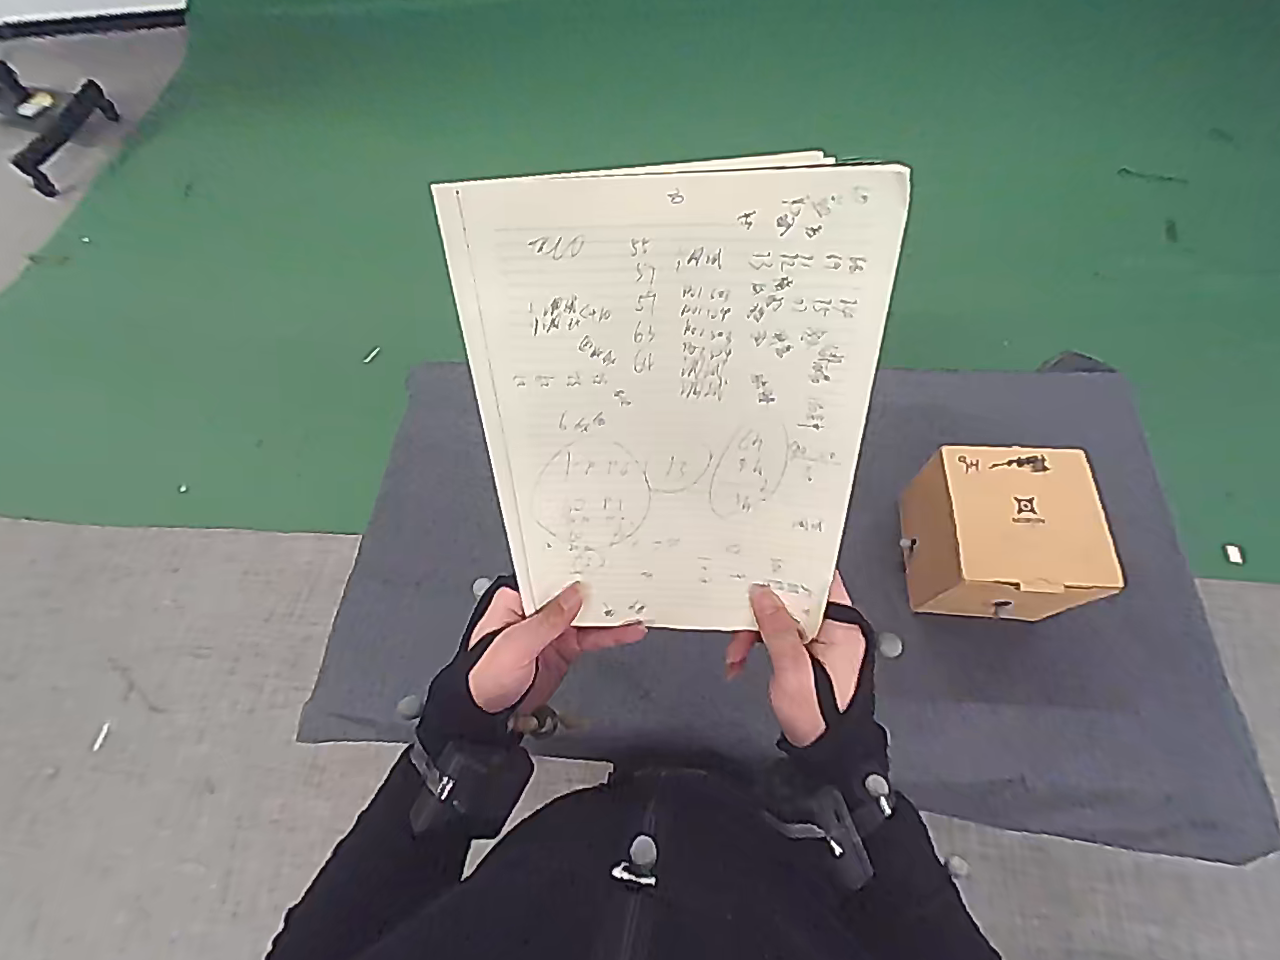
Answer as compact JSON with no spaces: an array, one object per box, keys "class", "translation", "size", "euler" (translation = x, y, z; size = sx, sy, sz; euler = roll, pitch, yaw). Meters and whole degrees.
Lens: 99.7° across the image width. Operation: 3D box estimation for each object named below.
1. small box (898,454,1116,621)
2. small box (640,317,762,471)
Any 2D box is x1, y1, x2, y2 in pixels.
[{"class":"small box","translation":[0.455,0.081,0.705],"size":[0.168,0.176,0.179],"euler":[3,66,6]},{"class":"small box","translation":[0.094,-0.124,0.823],"size":[0.168,0.176,0.179],"euler":[2,64,5]}]
